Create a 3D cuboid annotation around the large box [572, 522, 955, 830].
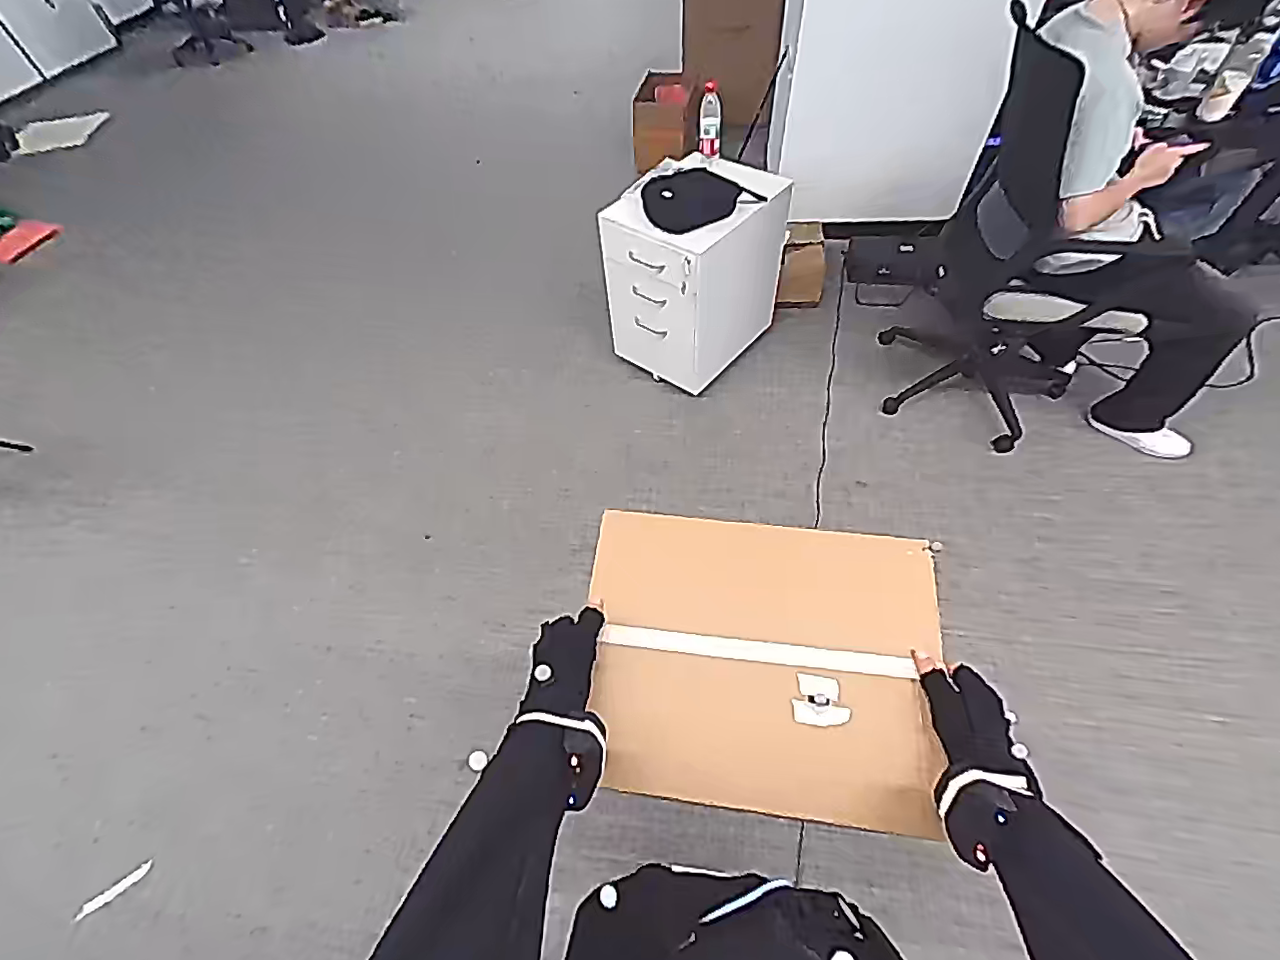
[{"bbox_3d":[0.144,0.273,0.761,0.408,0.320,0.320,5,63,6],"label":"large box"}]
